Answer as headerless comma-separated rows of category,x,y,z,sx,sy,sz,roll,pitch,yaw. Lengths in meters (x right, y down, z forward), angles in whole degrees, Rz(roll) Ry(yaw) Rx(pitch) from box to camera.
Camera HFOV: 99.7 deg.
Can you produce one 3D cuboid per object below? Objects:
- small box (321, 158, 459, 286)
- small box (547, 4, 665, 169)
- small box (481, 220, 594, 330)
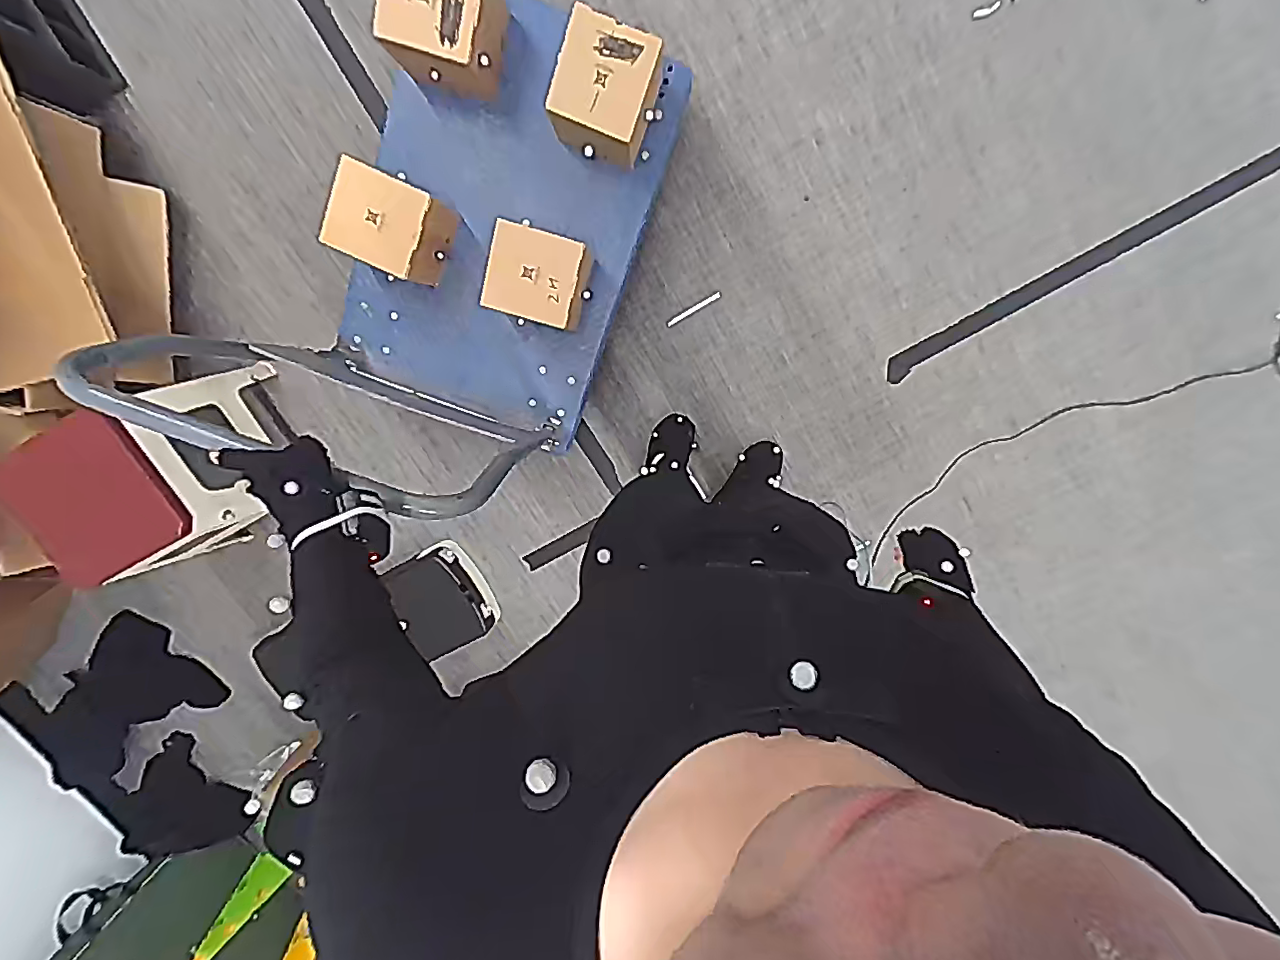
small box,-0.497,-0.508,1.095,0.179,0.176,0.168,22,103,-6
small box,-0.063,-0.734,1.030,0.168,0.176,0.179,20,105,-4
small box,-0.204,-0.411,1.115,0.179,0.176,0.168,16,104,-3
